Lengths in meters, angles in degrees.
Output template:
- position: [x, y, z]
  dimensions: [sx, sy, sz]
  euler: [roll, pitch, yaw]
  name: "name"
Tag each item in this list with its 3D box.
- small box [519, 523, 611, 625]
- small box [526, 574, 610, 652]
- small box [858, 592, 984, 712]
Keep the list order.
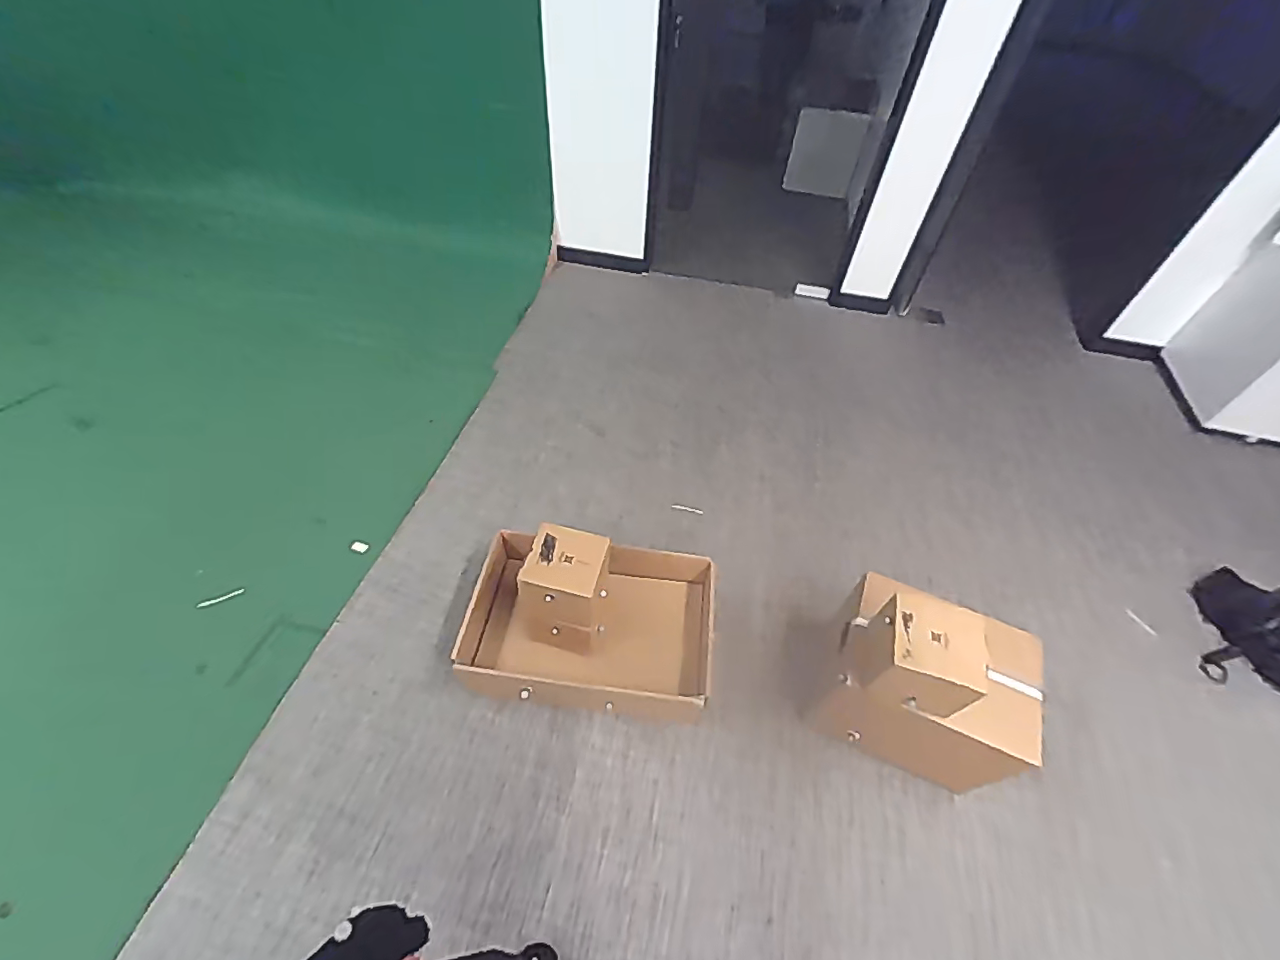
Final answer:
- position: [-0.179, 0.234, 1.320]
  dimensions: [0.179, 0.176, 0.168]
  euler: [14, 51, 4]
  name: "small box"
- position: [-0.189, 0.340, 1.445]
  dimensions: [0.179, 0.176, 0.168]
  euler: [14, 51, 4]
  name: "small box"
- position: [0.583, 0.366, 1.133]
  dimensions: [0.179, 0.176, 0.168]
  euler: [17, 53, 9]
  name: "small box"
